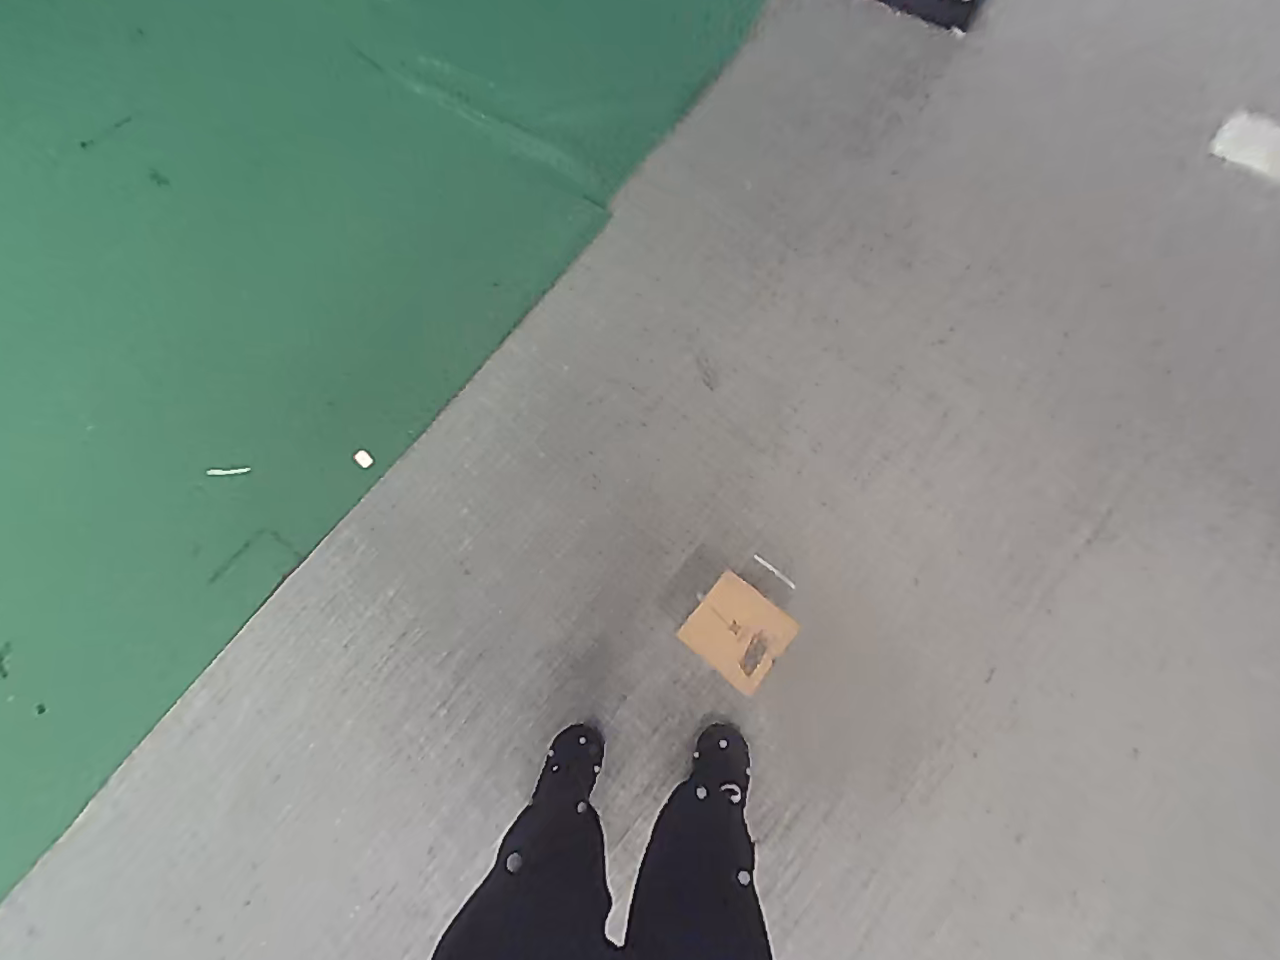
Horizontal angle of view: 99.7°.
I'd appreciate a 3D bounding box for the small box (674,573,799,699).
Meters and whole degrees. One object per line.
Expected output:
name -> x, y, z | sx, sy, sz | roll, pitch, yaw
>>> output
small box -> 0.192, 0.308, 1.093 | 0.179, 0.176, 0.168 | 38, 84, 16
